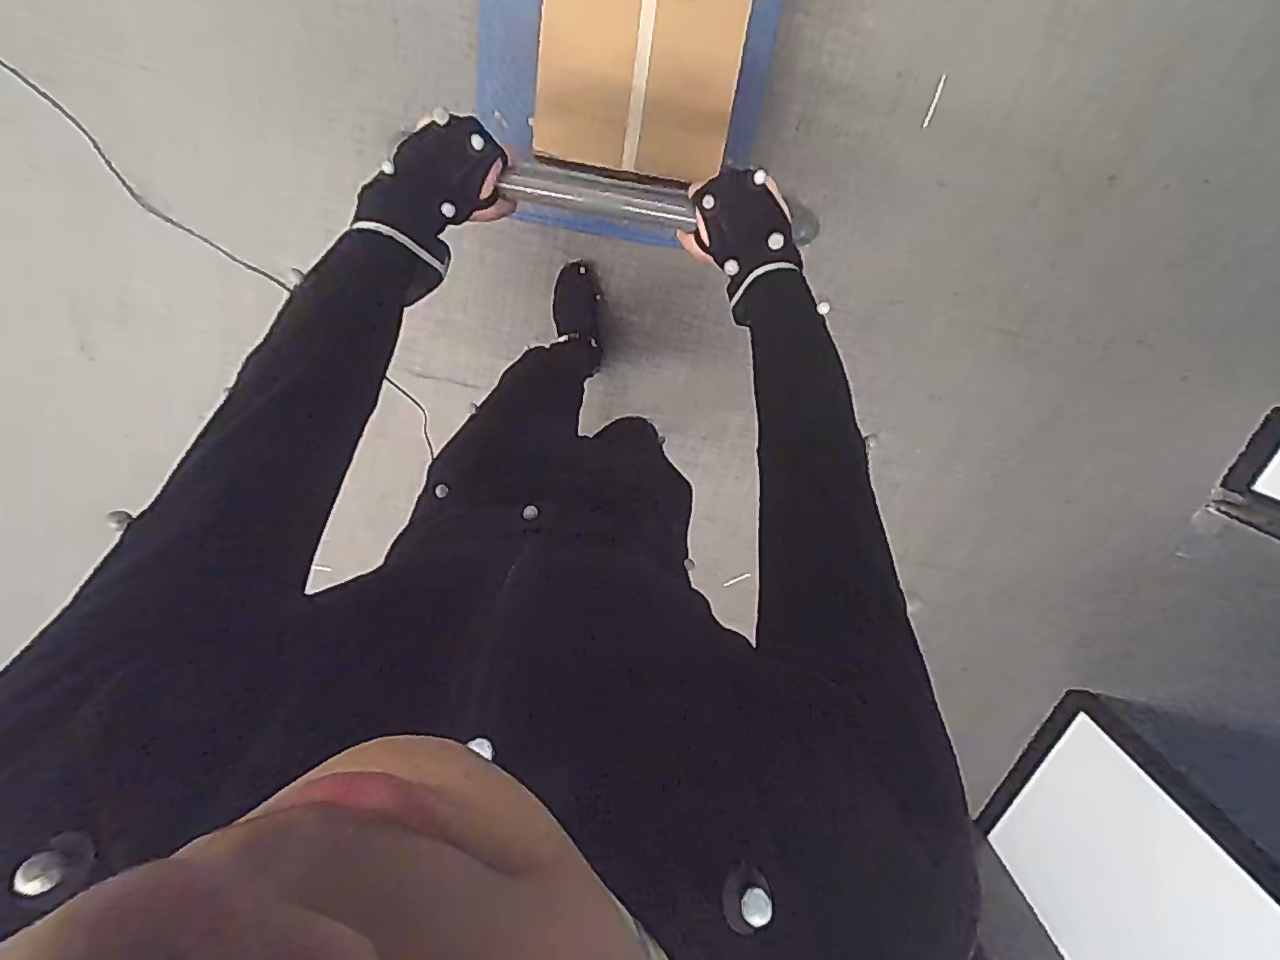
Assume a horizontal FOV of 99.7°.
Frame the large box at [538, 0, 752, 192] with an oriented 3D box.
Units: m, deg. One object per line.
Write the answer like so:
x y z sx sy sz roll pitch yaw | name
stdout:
0.005 -0.765 0.956 0.320 0.320 0.408 7 113 -7 | large box
